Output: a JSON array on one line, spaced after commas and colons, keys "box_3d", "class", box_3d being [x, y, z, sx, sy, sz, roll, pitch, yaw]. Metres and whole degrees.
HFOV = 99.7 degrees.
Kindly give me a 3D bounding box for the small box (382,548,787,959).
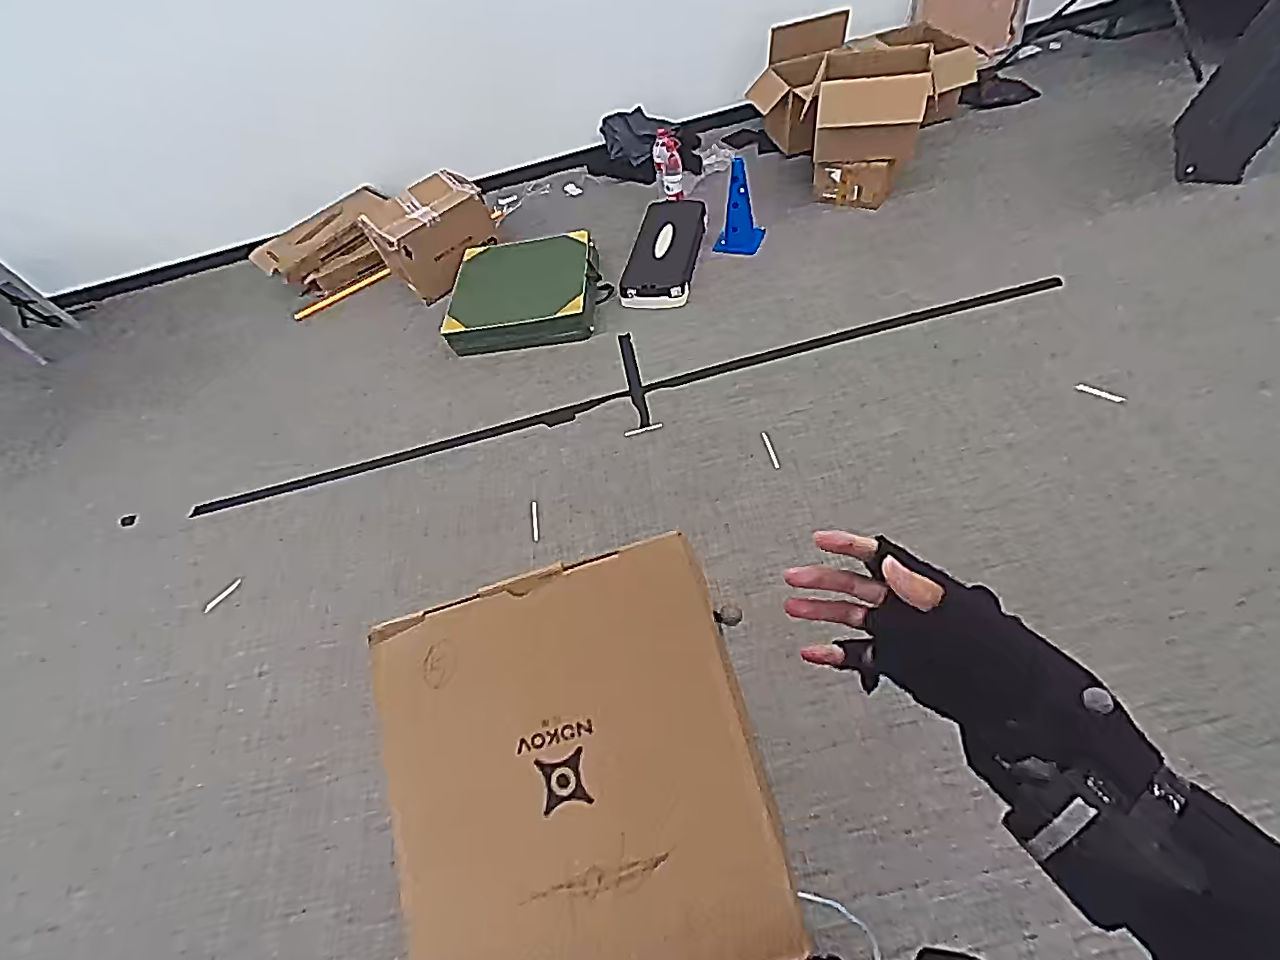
[{"box_3d": [-0.024, 0.157, 0.329, 0.168, 0.176, 0.179, -18, 73, 6], "class": "small box"}]
